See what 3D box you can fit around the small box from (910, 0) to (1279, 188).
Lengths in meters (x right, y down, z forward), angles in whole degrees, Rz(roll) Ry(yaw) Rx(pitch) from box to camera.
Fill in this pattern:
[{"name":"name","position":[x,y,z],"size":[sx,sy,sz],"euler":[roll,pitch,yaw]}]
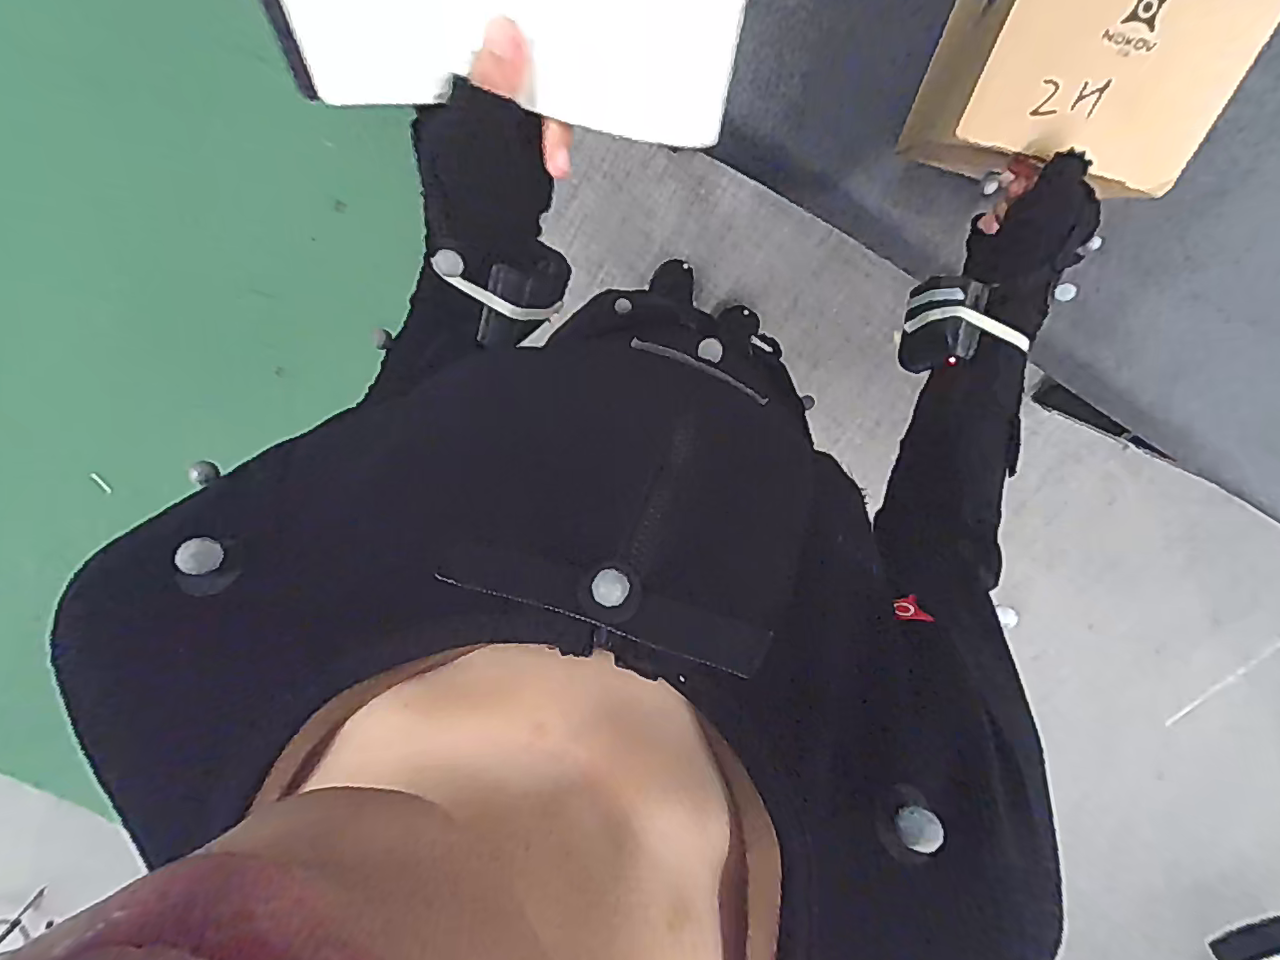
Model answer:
[{"name":"small box","position":[0.347,-0.349,0.429],"size":[0.168,0.176,0.179],"euler":[16,119,1]}]
